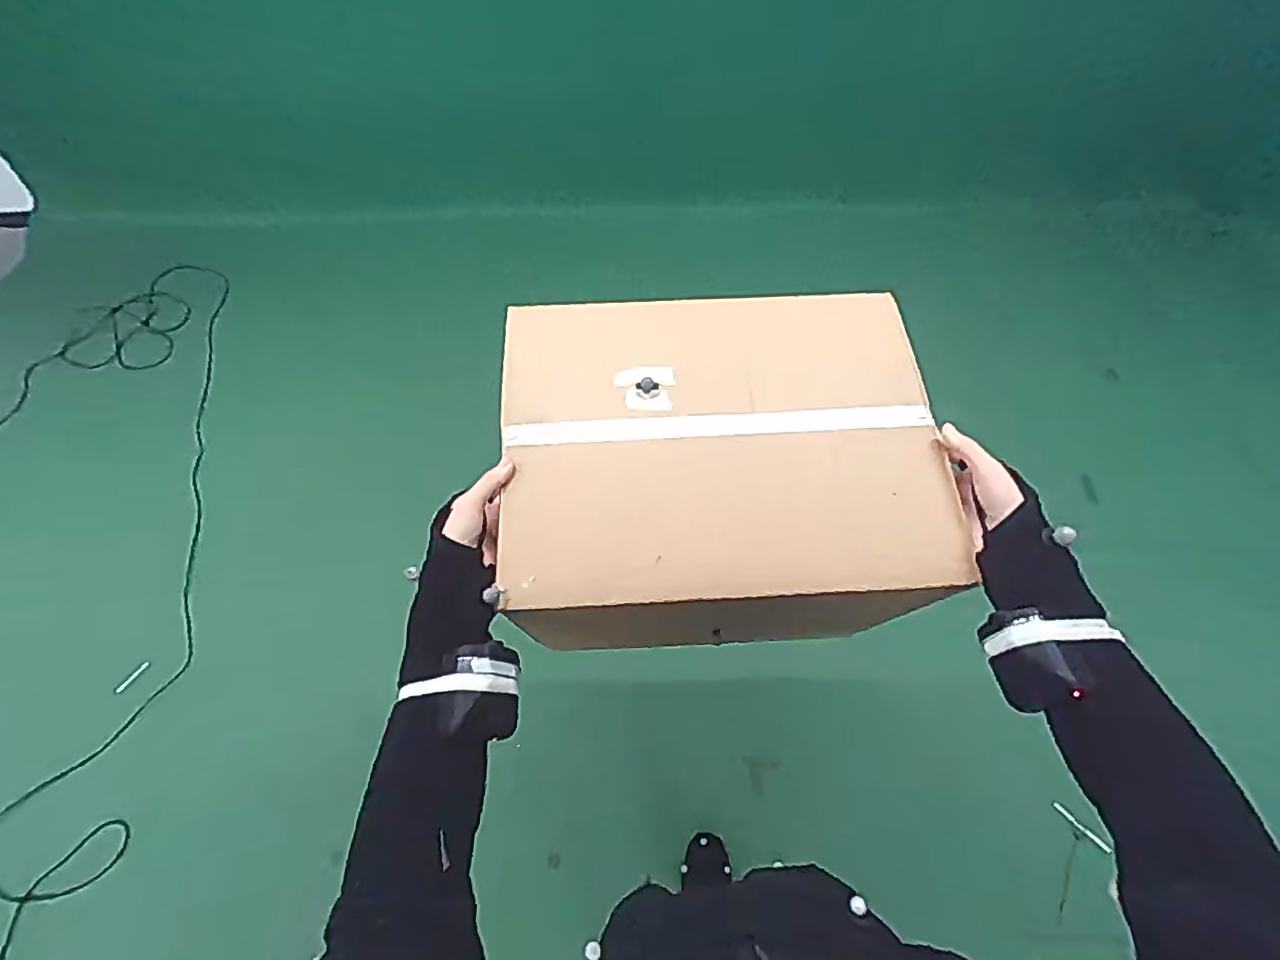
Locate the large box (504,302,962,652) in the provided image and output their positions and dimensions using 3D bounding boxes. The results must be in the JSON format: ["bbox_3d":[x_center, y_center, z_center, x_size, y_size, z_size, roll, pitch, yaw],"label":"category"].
[{"bbox_3d":[0.074,0.022,0.656,0.408,0.320,0.320,-4,65,-1],"label":"large box"}]
